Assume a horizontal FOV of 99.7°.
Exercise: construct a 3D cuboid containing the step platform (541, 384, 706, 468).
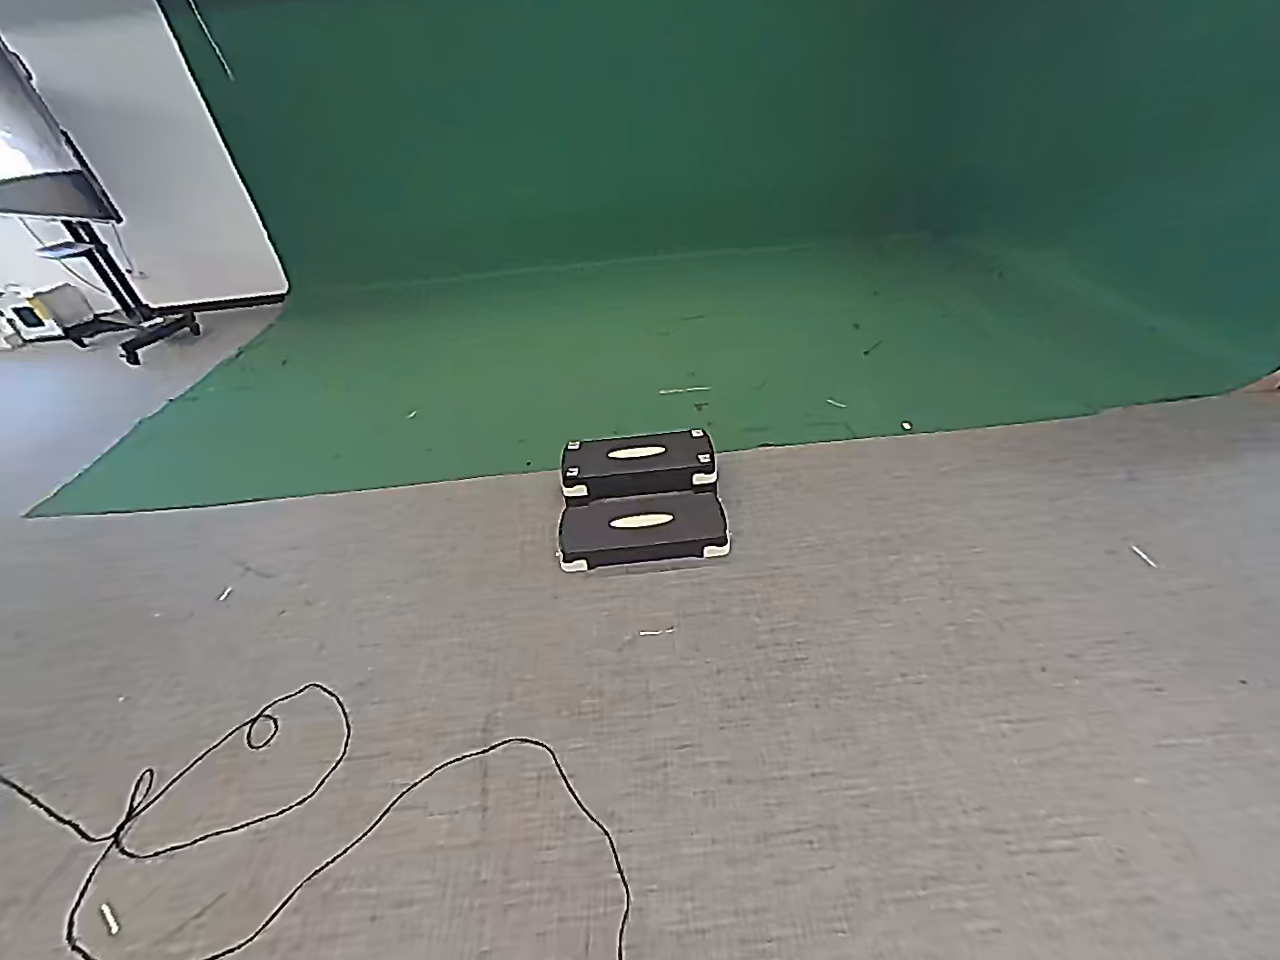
[{"bbox_3d":[-0.063,-0.233,2.302,0.684,0.204,0.286,-6,39,0],"label":"step platform"}]
